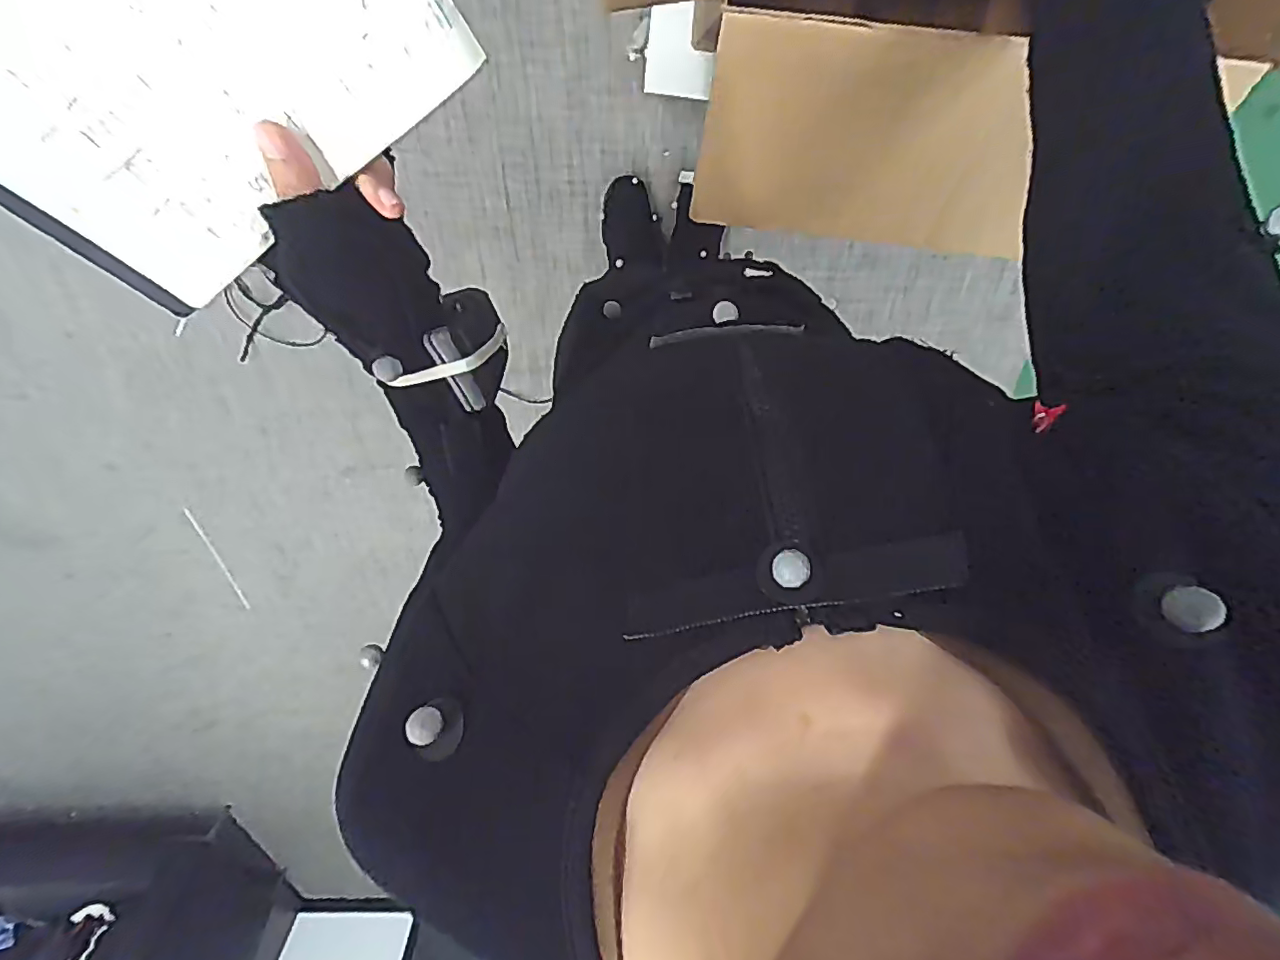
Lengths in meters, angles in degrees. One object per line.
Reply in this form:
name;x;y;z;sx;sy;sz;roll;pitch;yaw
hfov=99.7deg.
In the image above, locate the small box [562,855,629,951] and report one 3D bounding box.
small box;-0.117;1.148;1.474;0.168;0.176;0.179;-2;125;2
